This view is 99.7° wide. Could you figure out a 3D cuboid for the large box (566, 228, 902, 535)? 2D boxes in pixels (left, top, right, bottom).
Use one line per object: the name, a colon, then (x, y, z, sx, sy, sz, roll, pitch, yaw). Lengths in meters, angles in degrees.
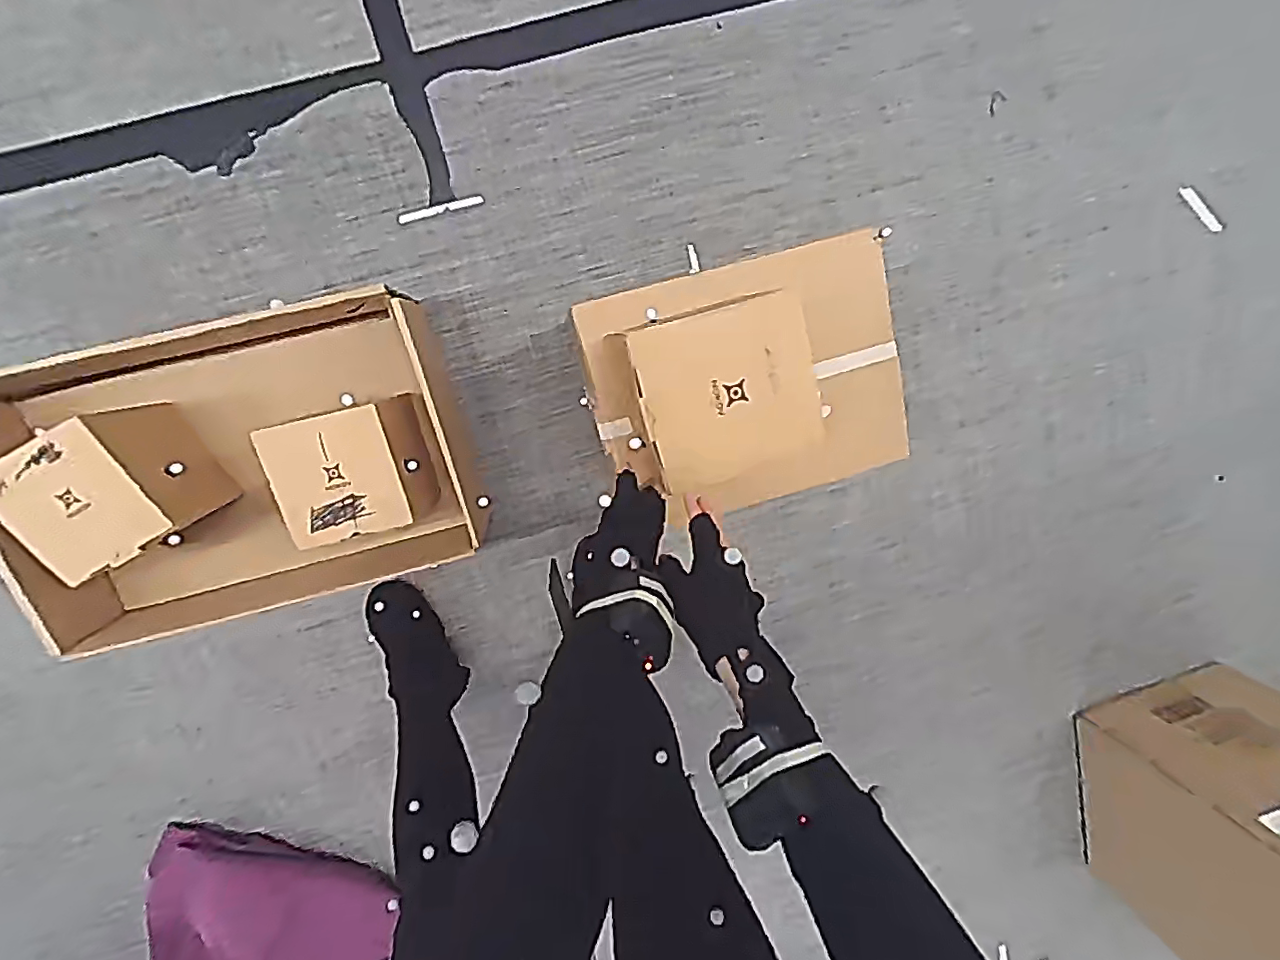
large box: (0.121, -0.153, 0.854, 0.408, 0.320, 0.320, -17, 105, -6)
